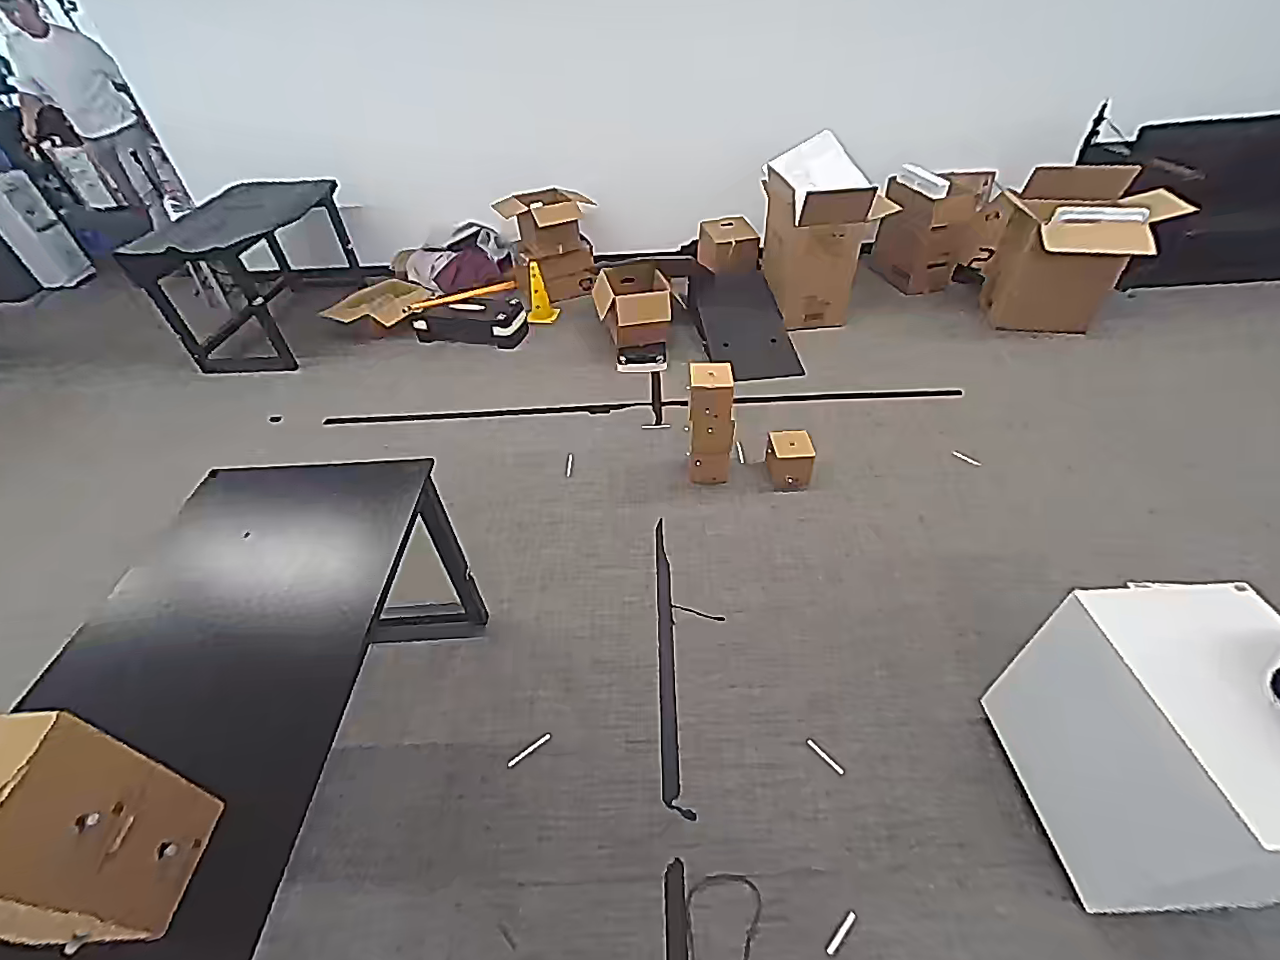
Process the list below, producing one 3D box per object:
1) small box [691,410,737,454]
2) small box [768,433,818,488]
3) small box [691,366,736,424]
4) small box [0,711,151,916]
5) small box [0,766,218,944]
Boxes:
[{"bbox_3d":[0.309,-0.222,2.293,0.179,0.176,0.168,-1,42,0],"label":"small box"},{"bbox_3d":[0.666,-0.084,2.371,0.168,0.176,0.179,-4,44,1],"label":"small box"},{"bbox_3d":[0.293,-0.345,2.188,0.168,0.176,0.179,0,43,2],"label":"small box"},{"bbox_3d":[-0.742,0.385,0.620,0.179,0.176,0.168,-3,43,0],"label":"small box"},{"bbox_3d":[-0.734,0.507,0.732,0.179,0.176,0.168,-3,42,-1],"label":"small box"}]
